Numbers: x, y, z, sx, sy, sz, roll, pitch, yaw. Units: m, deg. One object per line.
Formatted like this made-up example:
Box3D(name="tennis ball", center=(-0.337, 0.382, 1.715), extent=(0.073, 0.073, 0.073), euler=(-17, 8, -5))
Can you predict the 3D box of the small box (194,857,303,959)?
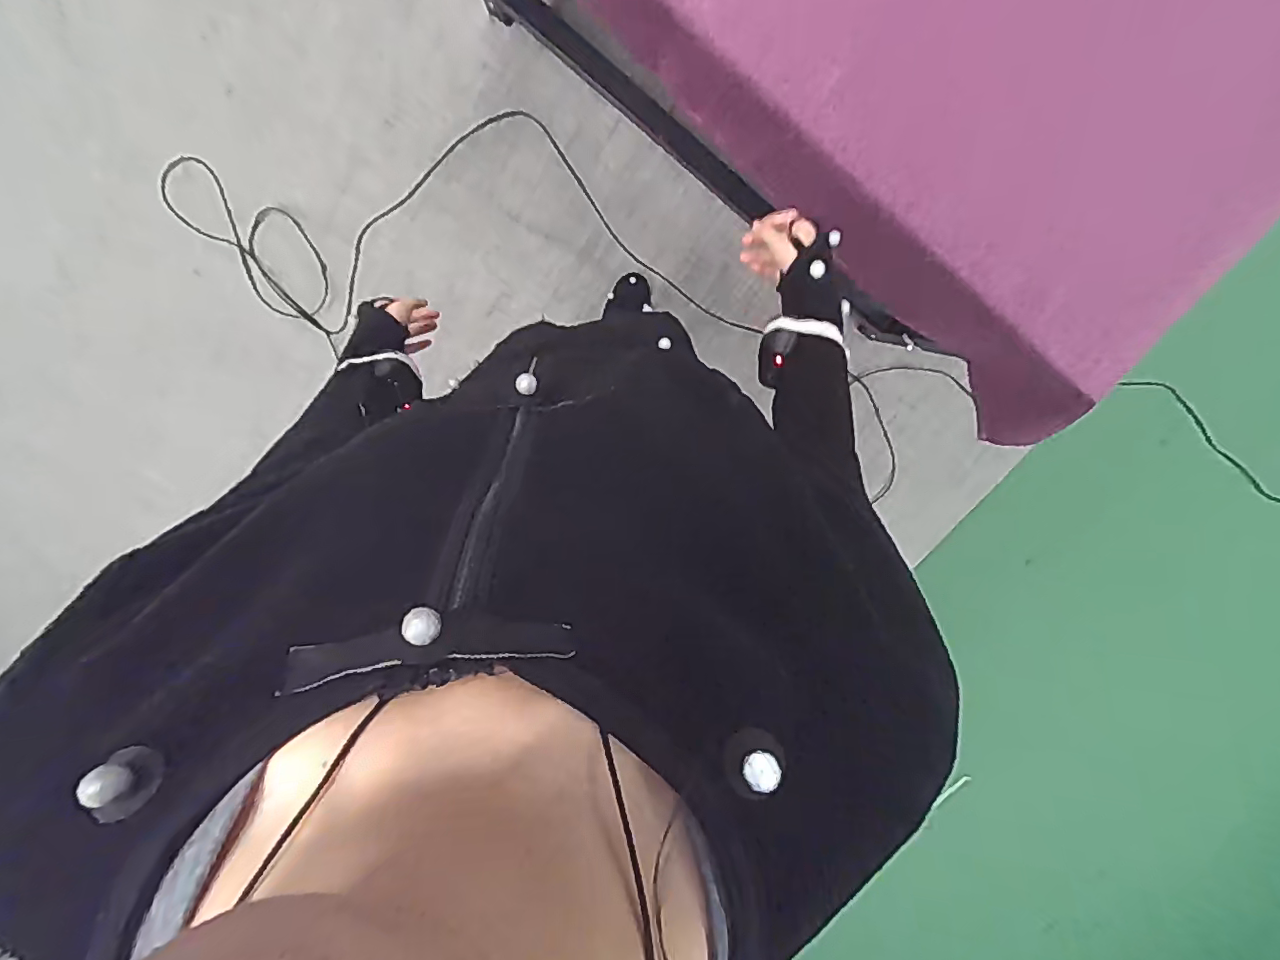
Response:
Box3D(name="small box", center=(-1.191, 1.314, 1.662), extent=(0.168, 0.176, 0.179), euler=(-40, 106, 10))
